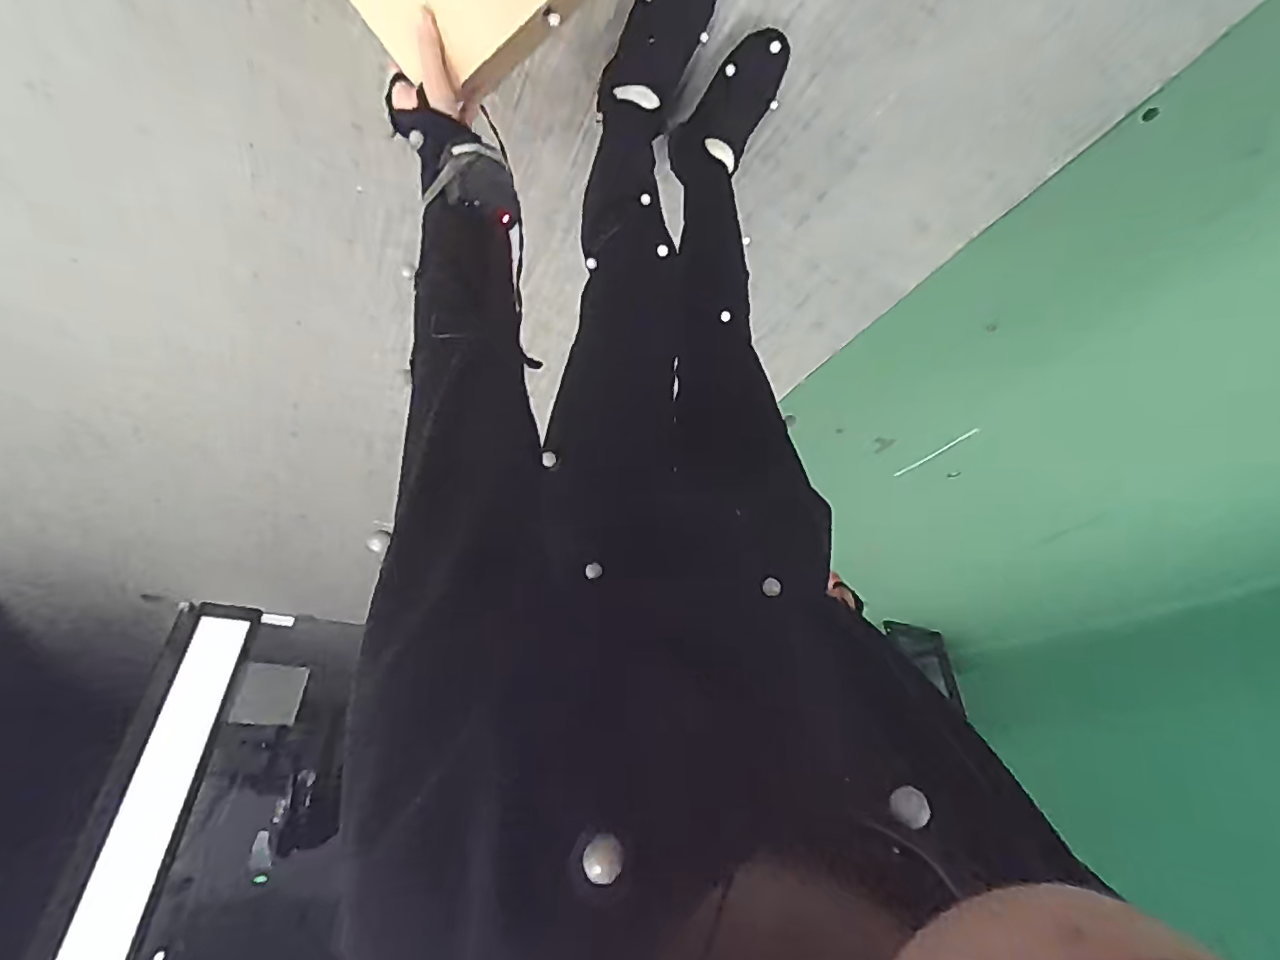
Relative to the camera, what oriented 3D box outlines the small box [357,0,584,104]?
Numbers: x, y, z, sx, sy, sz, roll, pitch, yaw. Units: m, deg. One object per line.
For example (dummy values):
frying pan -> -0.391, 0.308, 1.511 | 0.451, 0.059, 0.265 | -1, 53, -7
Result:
small box -> -0.161, -0.490, 0.500 | 0.179, 0.176, 0.168 | -27, 122, 24
